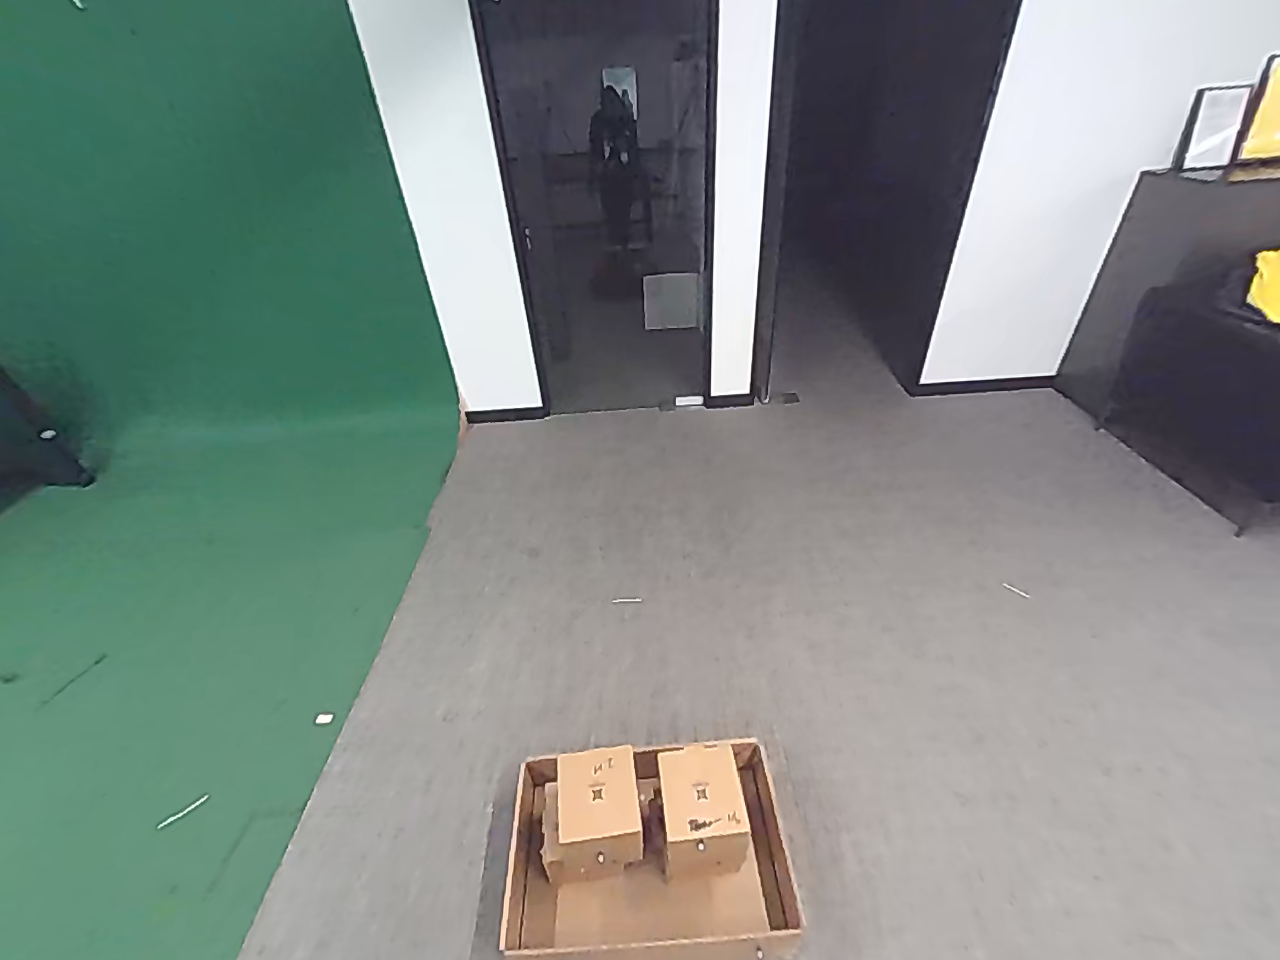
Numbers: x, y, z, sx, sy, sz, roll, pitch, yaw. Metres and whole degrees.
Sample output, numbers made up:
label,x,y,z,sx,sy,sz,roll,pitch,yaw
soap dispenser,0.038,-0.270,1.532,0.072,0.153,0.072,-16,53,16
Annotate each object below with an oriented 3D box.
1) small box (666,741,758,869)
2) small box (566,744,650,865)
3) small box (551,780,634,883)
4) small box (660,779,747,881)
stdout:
label,x,y,z,sx,sy,sz,roll,pitch,yaw
small box,0.149,0.696,1.161,0.168,0.176,0.179,-8,37,-1
small box,-0.070,0.708,1.175,0.168,0.176,0.179,-5,38,-5
small box,-0.111,0.830,1.287,0.179,0.176,0.168,-5,38,-3
small box,0.152,0.814,1.278,0.179,0.176,0.168,-9,37,-4
